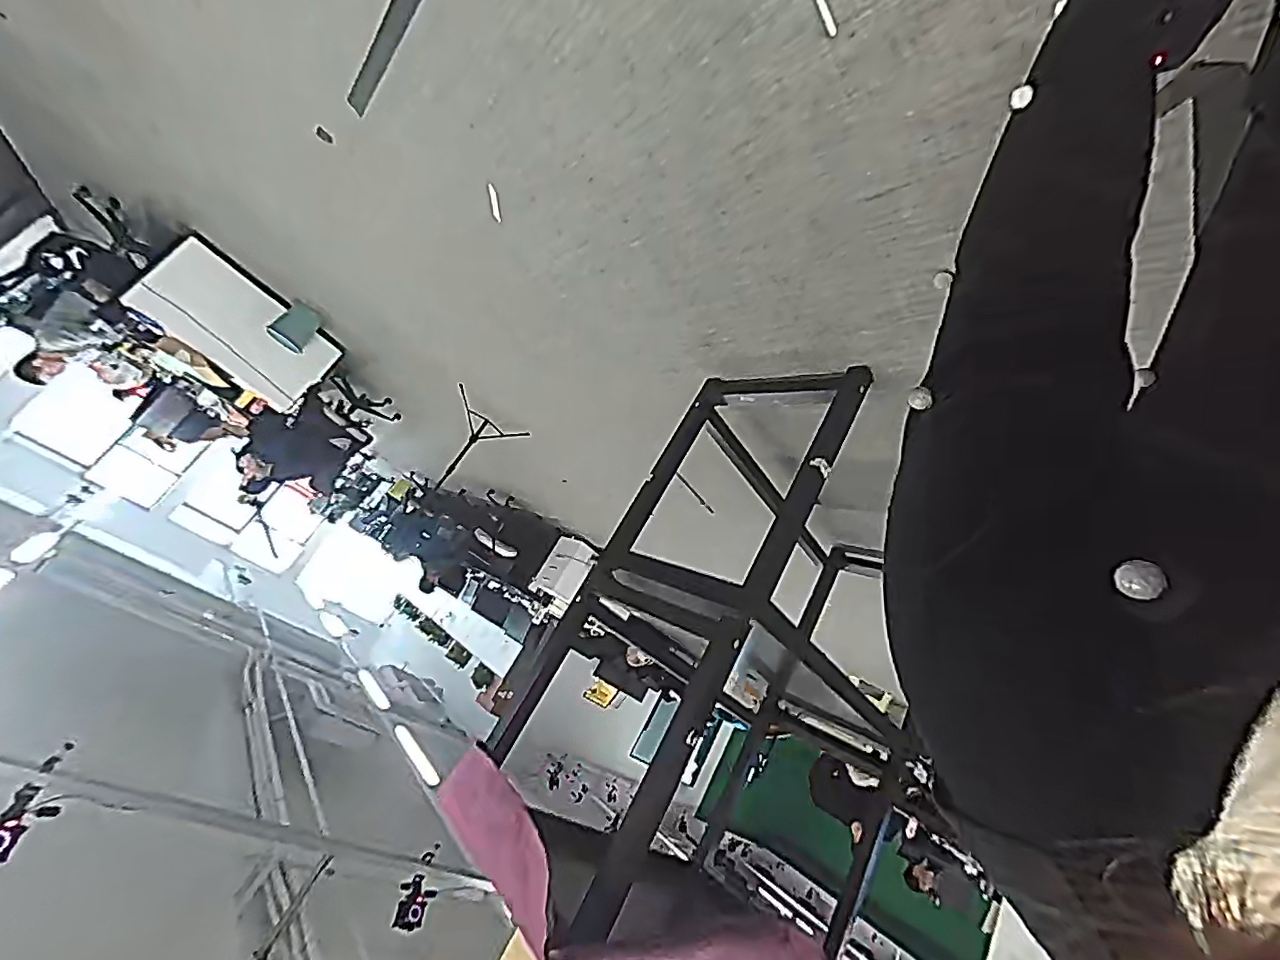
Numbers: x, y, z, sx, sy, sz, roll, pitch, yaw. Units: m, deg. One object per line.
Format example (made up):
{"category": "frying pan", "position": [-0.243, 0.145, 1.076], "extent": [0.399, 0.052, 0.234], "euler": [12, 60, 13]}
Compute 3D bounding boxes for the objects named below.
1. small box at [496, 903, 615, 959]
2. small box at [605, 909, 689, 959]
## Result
{"category": "small box", "position": [-0.184, 1.048, 1.162], "extent": [0.179, 0.176, 0.168], "euler": [11, 154, 47]}
{"category": "small box", "position": [0.003, 1.236, 1.362], "extent": [0.168, 0.176, 0.179], "euler": [42, 160, -30]}
